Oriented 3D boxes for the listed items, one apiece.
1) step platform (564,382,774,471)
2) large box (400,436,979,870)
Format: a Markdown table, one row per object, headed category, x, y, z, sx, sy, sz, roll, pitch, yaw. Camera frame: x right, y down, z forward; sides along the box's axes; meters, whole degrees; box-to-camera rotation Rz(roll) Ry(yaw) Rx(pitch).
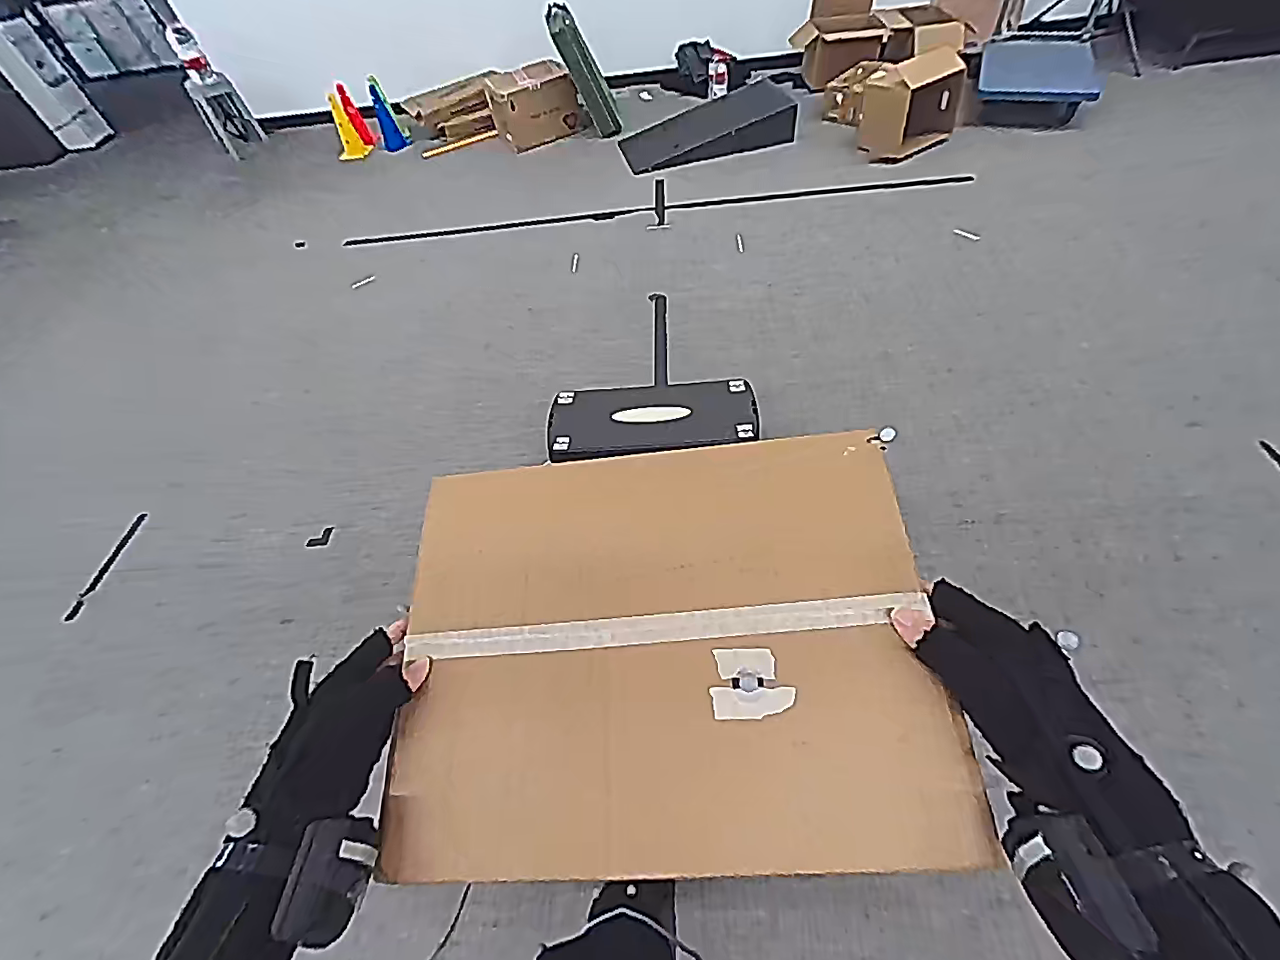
| category | x | y | z | sx | sy | sz | roll | pitch | yaw |
| --- | --- | --- | --- | --- | --- | --- | --- | --- | --- |
| step platform | 0.092 | -0.145 | 1.787 | 0.684 | 0.204 | 0.286 | -4 | 53 | 4 |
| large box | 0.035 | 0.186 | 0.564 | 0.408 | 0.320 | 0.320 | -6 | 62 | 6 |
